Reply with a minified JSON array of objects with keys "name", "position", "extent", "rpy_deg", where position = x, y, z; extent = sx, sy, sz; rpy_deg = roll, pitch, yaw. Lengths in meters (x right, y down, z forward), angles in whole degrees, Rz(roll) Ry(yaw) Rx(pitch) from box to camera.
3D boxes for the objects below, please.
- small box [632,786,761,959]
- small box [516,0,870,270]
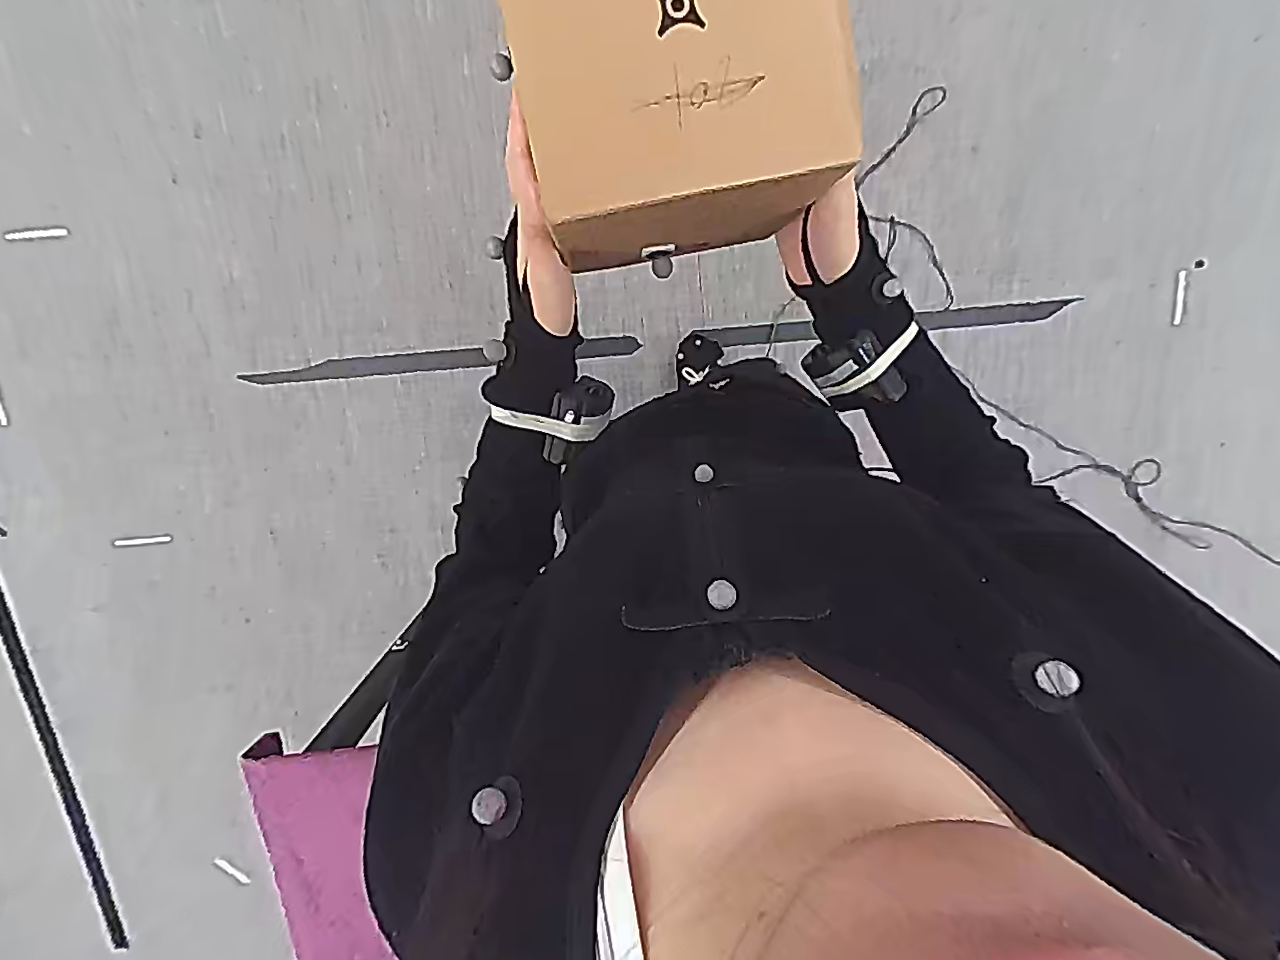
[{"name":"small box","position":[0.076,0.586,0.788],"extent":[0.168,0.176,0.179],"rpy_deg":[-4,102,-2]},{"name":"small box","position":[0.017,-0.248,0.336],"extent":[0.168,0.176,0.179],"rpy_deg":[-12,103,-1]}]
